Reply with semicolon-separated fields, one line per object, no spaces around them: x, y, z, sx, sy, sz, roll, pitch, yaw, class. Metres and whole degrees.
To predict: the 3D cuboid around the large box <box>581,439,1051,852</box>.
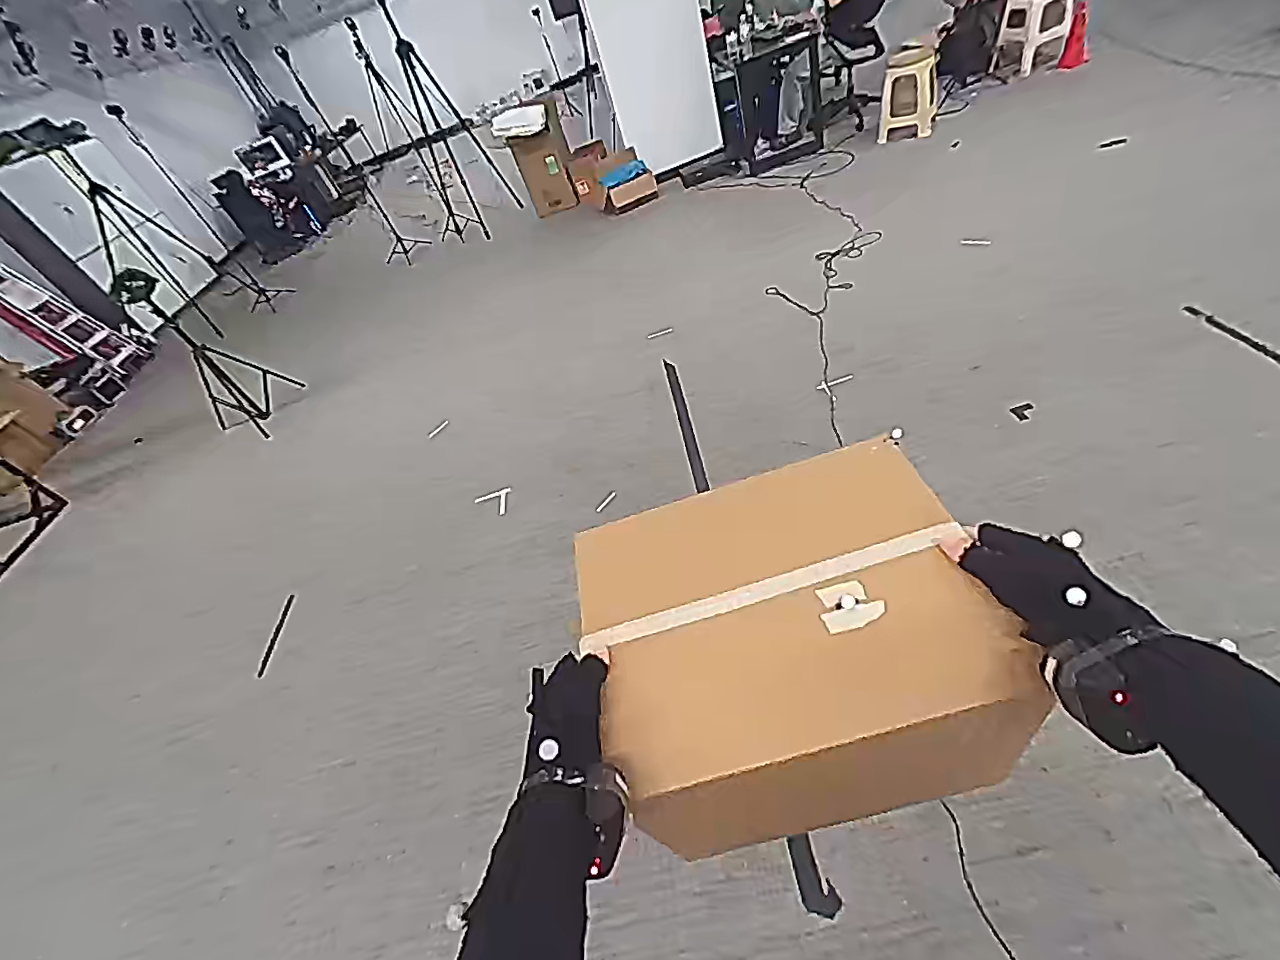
0.176;0.213;0.676;0.408;0.320;0.320;-18;45;4;large box
